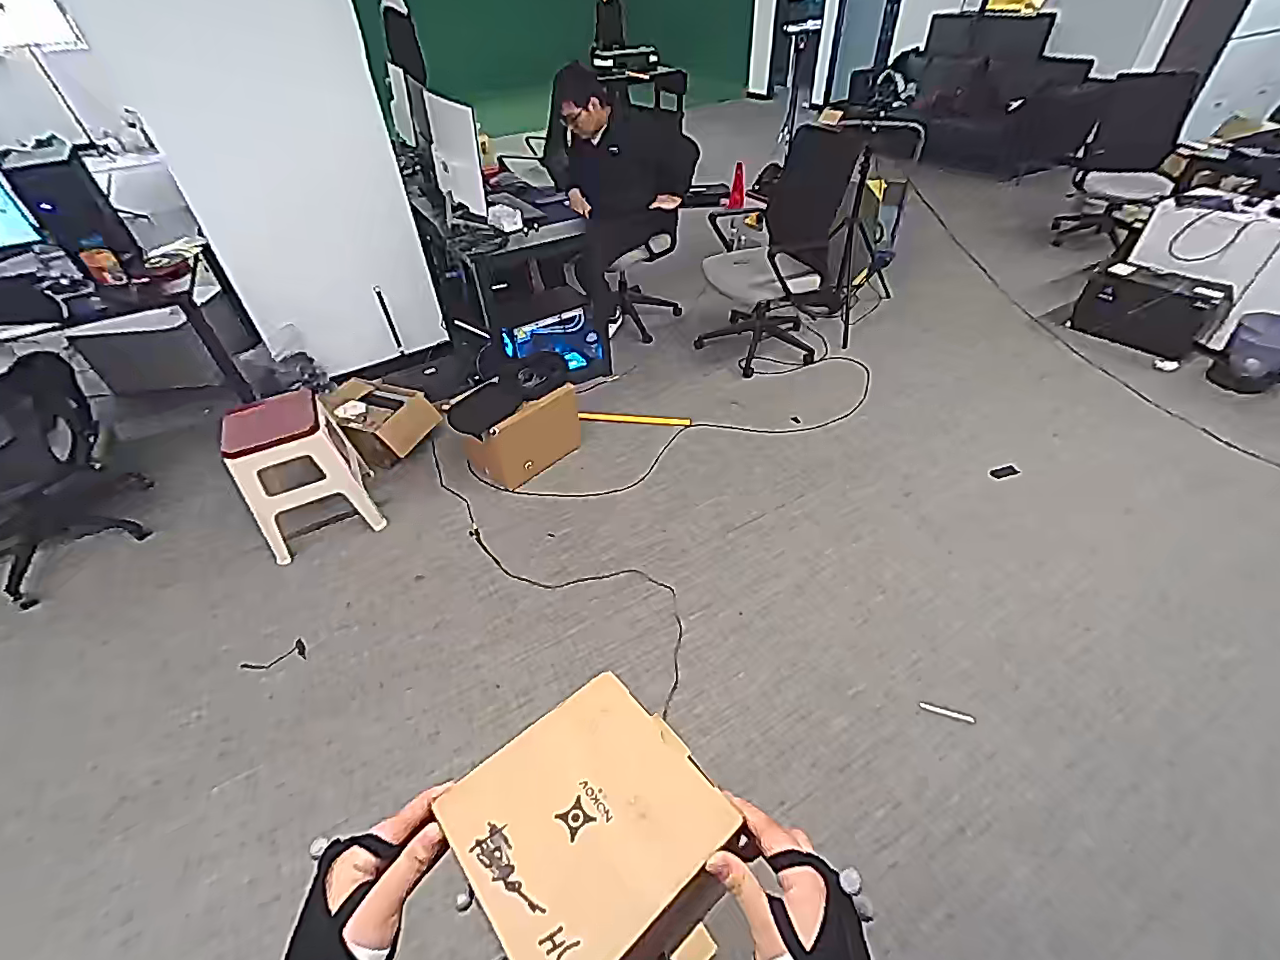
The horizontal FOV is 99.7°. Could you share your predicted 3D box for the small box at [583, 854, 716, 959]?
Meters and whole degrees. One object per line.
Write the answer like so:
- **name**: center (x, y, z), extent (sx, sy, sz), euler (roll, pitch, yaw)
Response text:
- **small box**: center (0.018, 0.835, 0.979), extent (0.179, 0.176, 0.168), euler (-28, 50, -26)
